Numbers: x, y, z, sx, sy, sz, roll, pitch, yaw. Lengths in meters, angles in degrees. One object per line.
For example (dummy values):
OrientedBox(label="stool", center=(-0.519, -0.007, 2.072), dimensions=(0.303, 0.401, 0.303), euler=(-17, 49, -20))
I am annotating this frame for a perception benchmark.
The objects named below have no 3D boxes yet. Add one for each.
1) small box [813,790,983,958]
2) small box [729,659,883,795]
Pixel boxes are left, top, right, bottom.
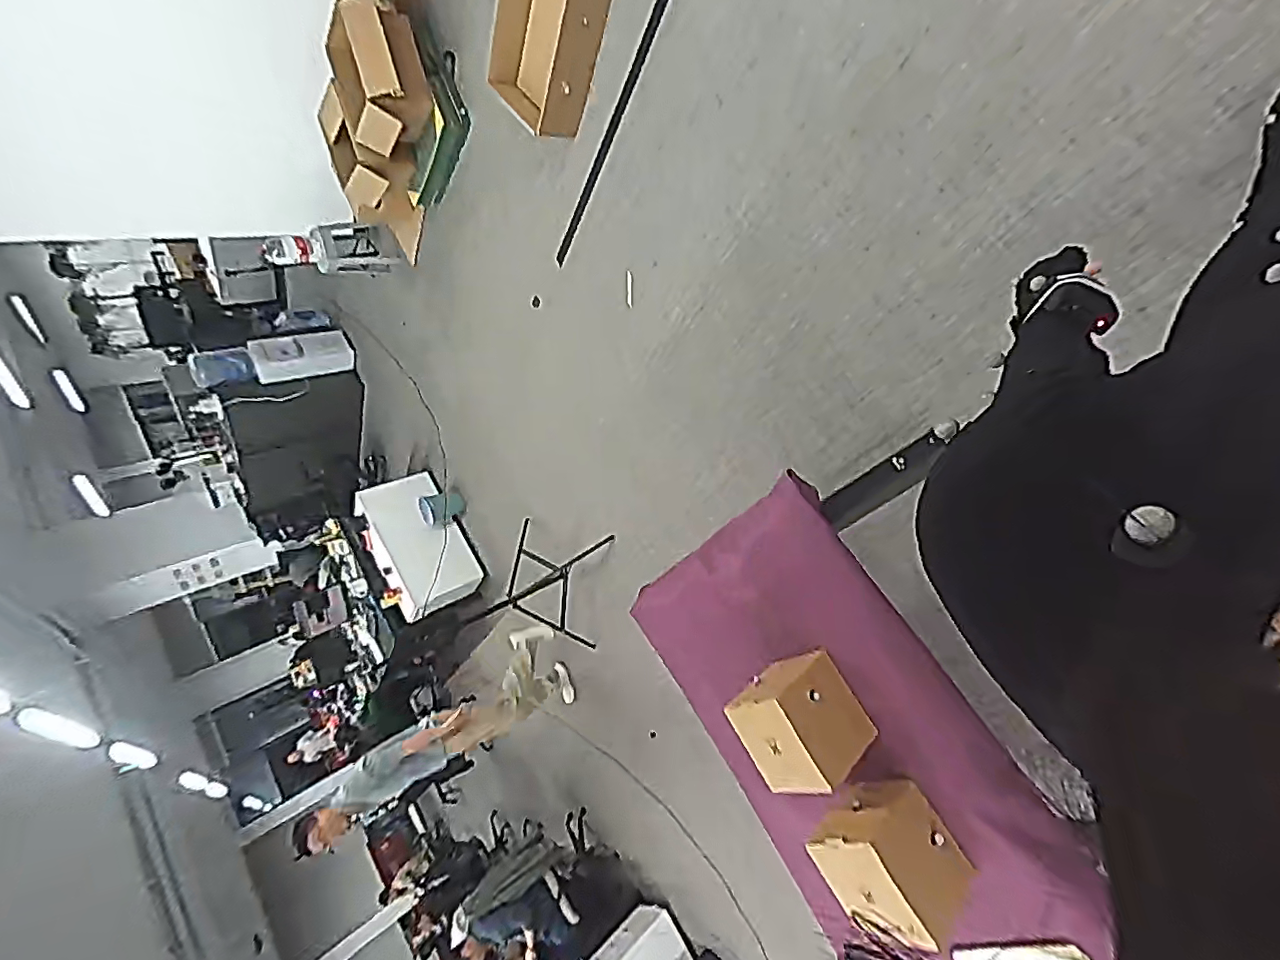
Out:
OrientedBox(label="small box", center=(0.450, 0.671, 0.949), dimensions=(0.179, 0.176, 0.168), euler=(57, 142, 14))
OrientedBox(label="small box", center=(0.309, 0.455, 1.013), dimensions=(0.179, 0.176, 0.168), euler=(57, 143, 11))
